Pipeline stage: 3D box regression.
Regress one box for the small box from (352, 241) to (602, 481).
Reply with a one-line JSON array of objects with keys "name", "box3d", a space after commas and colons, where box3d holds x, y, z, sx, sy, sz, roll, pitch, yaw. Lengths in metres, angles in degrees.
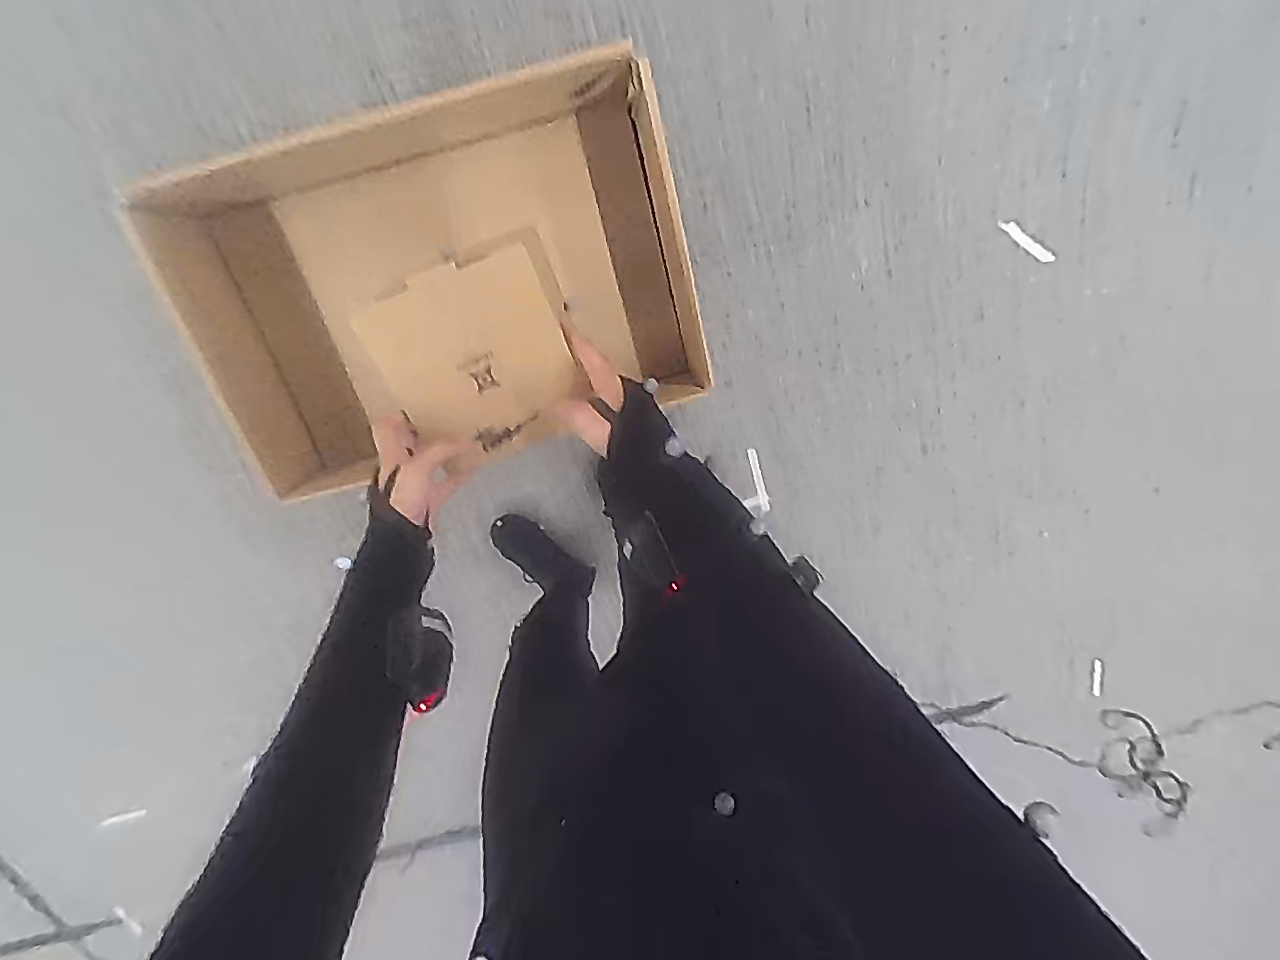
[{"name": "small box", "box3d": [-0.149, -0.132, 0.556, 0.168, 0.176, 0.179, -20, 119, 4]}]
